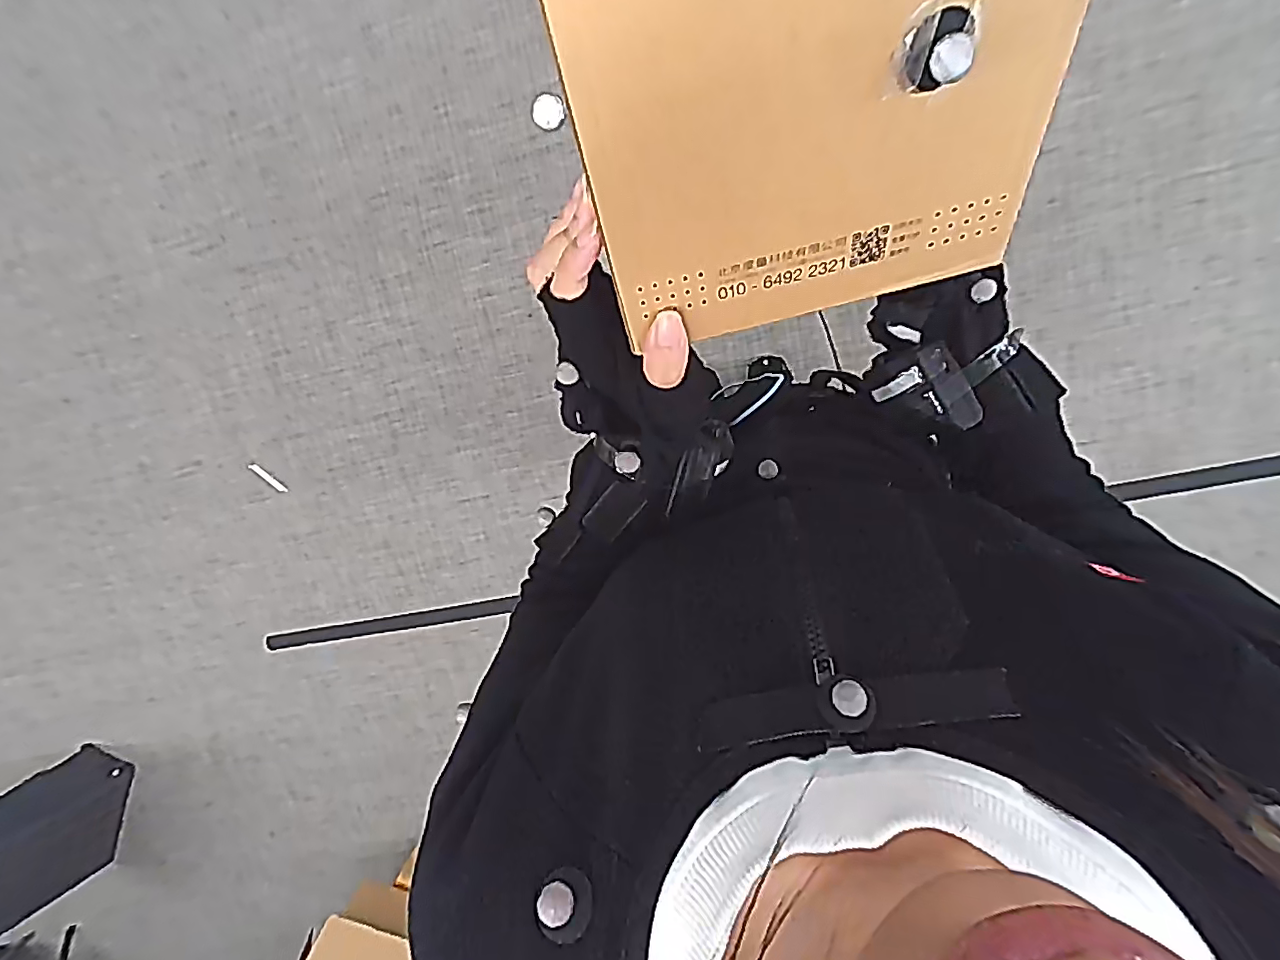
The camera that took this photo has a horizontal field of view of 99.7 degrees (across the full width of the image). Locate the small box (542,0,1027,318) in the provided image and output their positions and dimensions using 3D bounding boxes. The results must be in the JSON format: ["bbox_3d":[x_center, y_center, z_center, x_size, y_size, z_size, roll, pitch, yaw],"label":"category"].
[{"bbox_3d":[0.052,-0.195,0.252,0.168,0.179,0.176,-12,140,4],"label":"small box"}]
